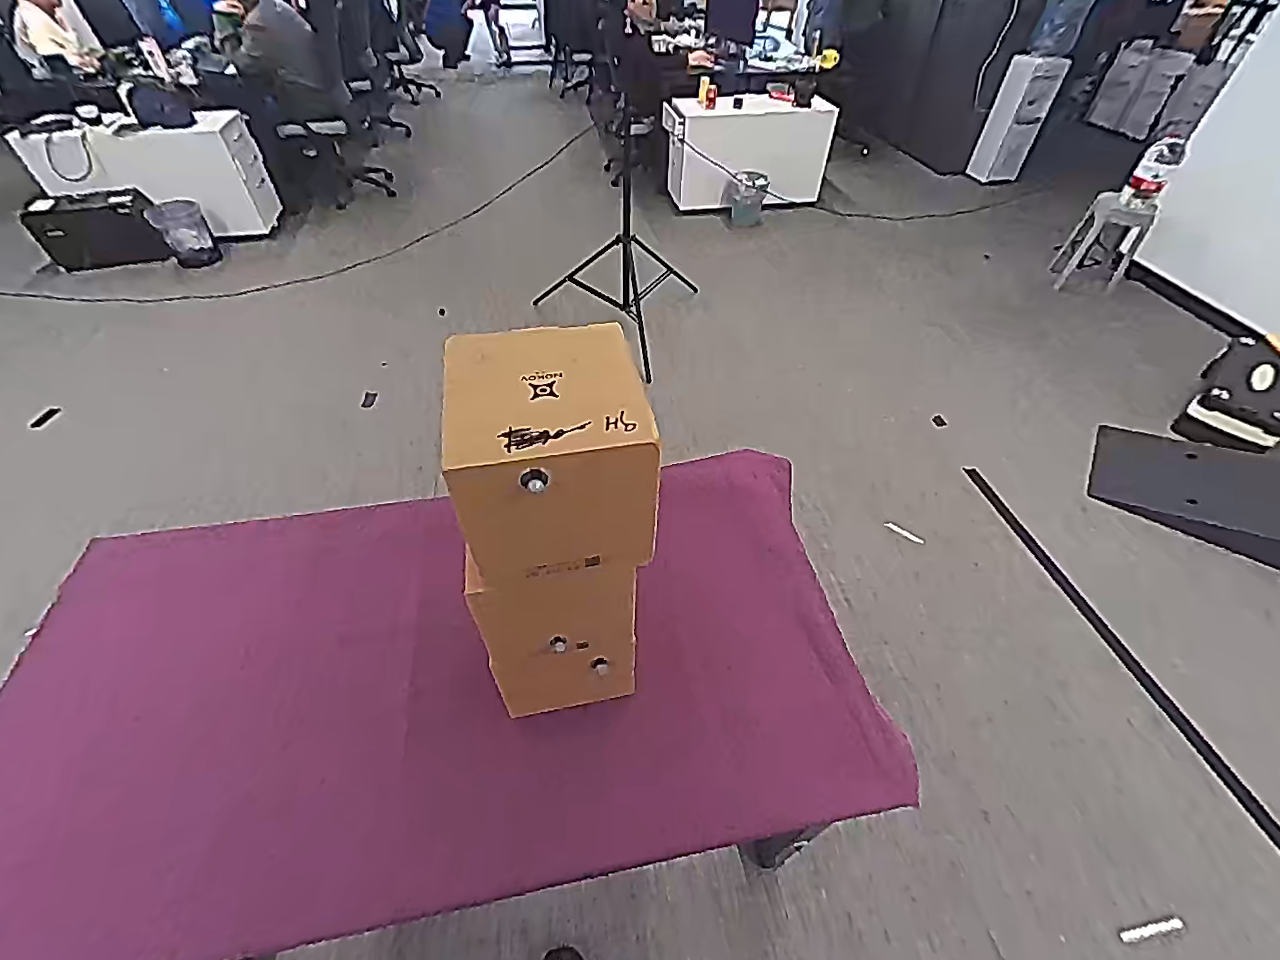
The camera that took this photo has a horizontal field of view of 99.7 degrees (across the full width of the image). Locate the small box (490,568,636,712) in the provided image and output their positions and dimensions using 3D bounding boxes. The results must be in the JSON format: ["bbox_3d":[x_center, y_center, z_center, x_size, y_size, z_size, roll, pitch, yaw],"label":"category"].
[{"bbox_3d":[-0.106,0.200,0.755,0.179,0.176,0.168,-9,47,-8],"label":"small box"}]

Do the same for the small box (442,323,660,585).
[{"bbox_3d":[-0.082,-0.026,0.517,0.168,0.176,0.179,-9,48,-9],"label":"small box"}]
